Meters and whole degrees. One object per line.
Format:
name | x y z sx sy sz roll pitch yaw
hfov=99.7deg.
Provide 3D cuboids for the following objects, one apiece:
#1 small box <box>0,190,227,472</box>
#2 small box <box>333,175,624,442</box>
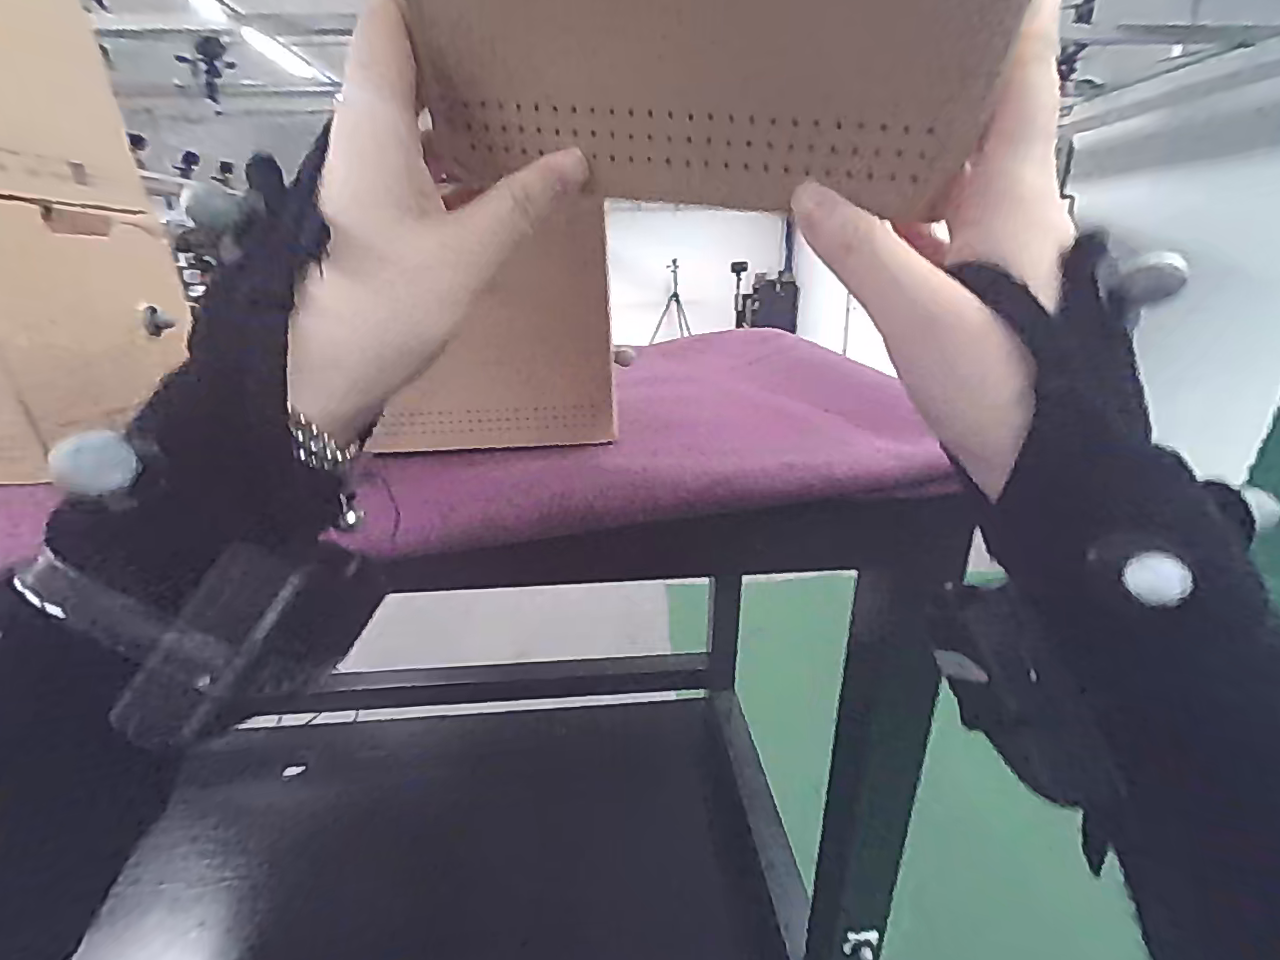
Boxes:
small box | -0.449 -0.105 0.388 0.179 0.176 0.168 -3 21 -4
small box | -0.103 -0.129 0.431 0.179 0.176 0.168 -2 19 -2
